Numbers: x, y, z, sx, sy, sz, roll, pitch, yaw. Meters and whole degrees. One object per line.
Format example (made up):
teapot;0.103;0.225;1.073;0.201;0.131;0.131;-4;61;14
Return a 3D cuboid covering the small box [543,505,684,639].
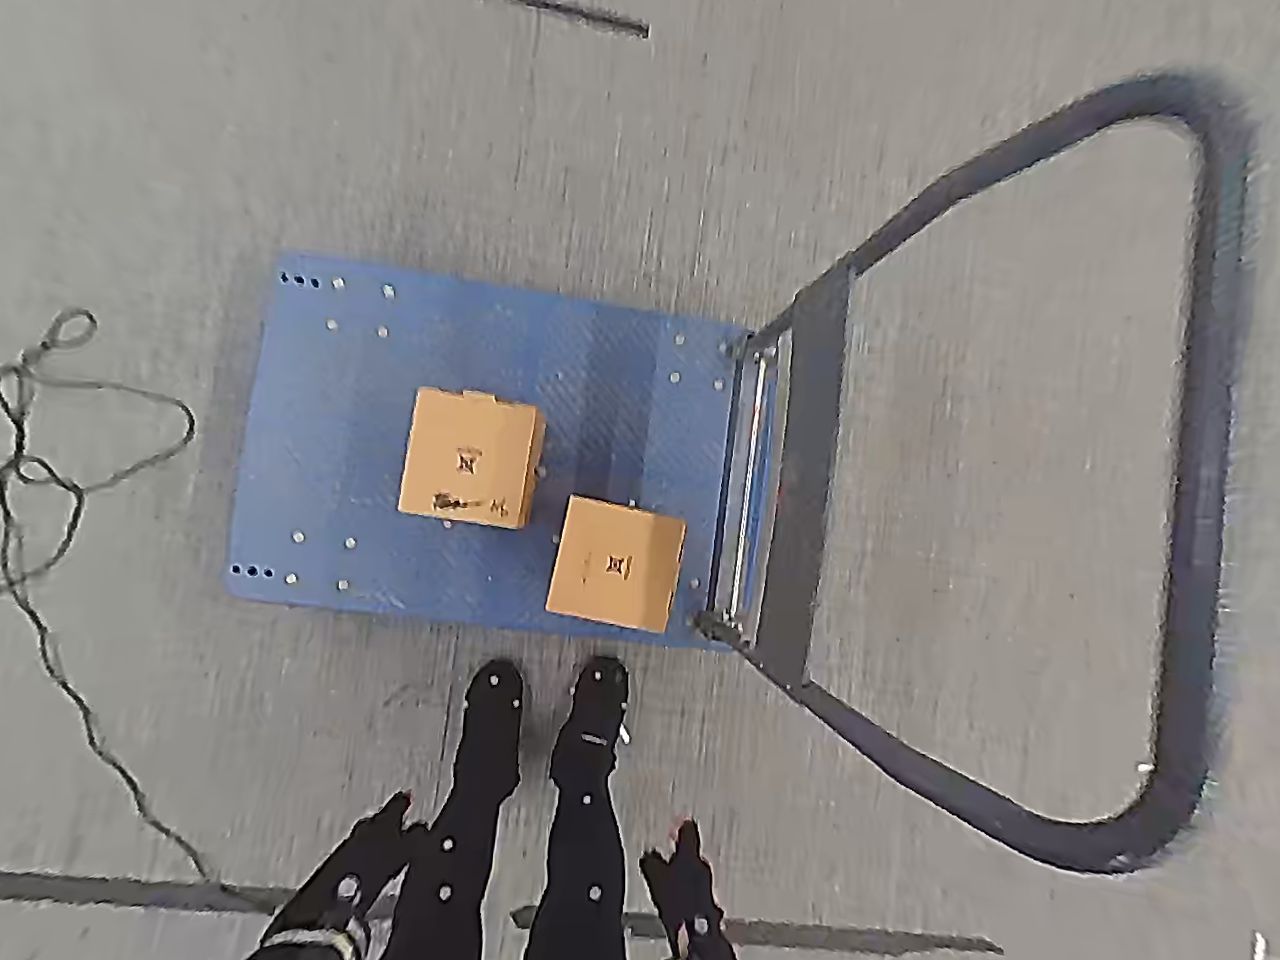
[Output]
small box;-0.044;0.138;0.854;0.179;0.176;0.168;13;84;-4

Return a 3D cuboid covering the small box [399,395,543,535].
small box;-0.248;-0.015;0.838;0.168;0.176;0.179;10;85;-5
